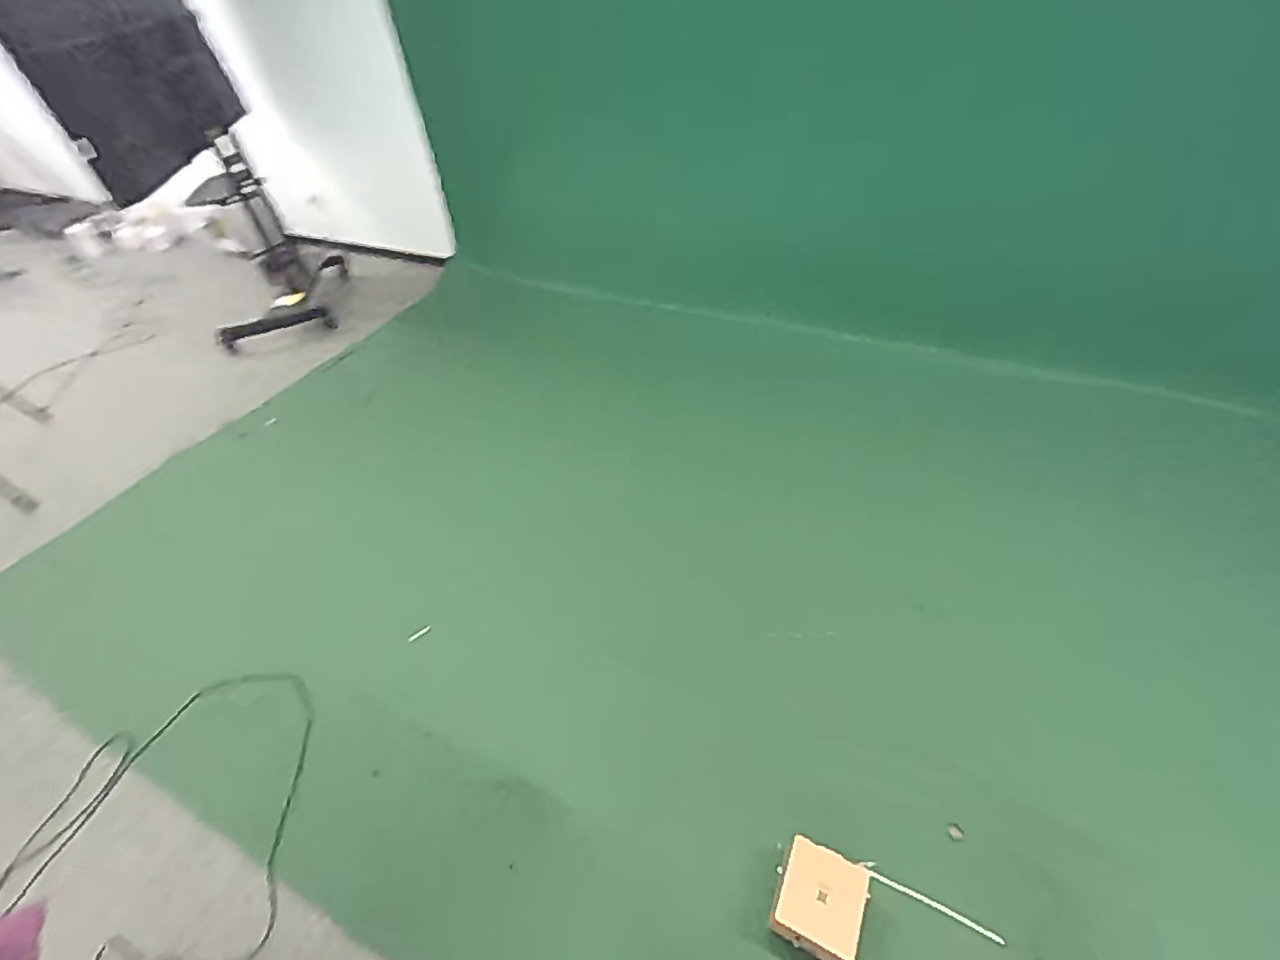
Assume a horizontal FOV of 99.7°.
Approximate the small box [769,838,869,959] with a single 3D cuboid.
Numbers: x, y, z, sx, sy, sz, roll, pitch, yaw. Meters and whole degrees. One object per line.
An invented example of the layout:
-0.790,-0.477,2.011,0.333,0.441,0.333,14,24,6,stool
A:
0.395,0.954,1.210,0.168,0.176,0.179,18,48,21,small box
